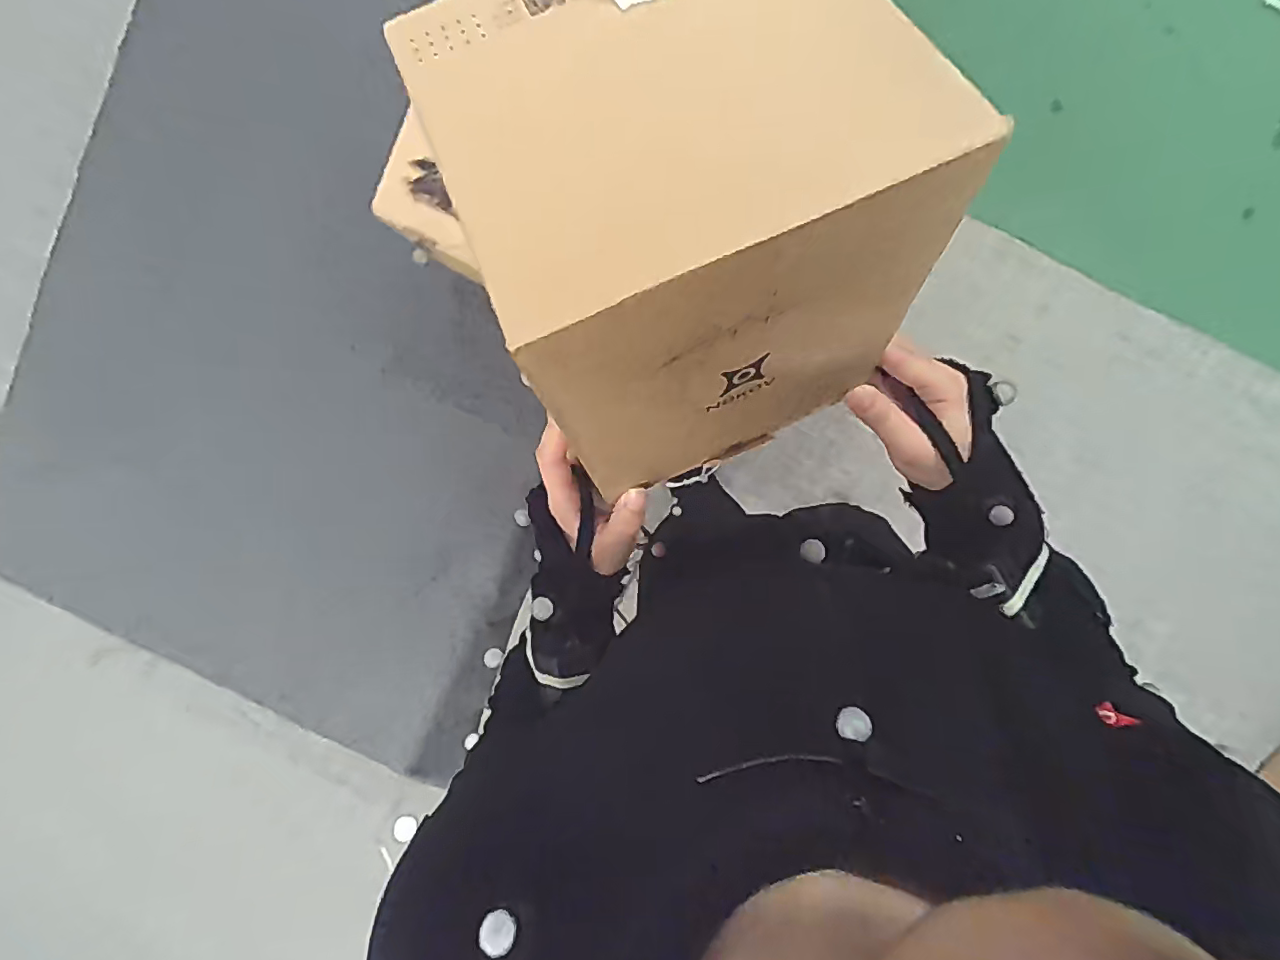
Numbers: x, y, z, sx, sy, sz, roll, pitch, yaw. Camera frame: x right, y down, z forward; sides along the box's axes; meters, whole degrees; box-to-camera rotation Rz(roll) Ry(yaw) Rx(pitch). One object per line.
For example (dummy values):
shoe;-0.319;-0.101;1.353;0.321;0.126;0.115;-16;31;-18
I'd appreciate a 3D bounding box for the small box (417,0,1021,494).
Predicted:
small box;0.021;-0.119;0.266;0.168;0.179;0.176;-24;70;-1
